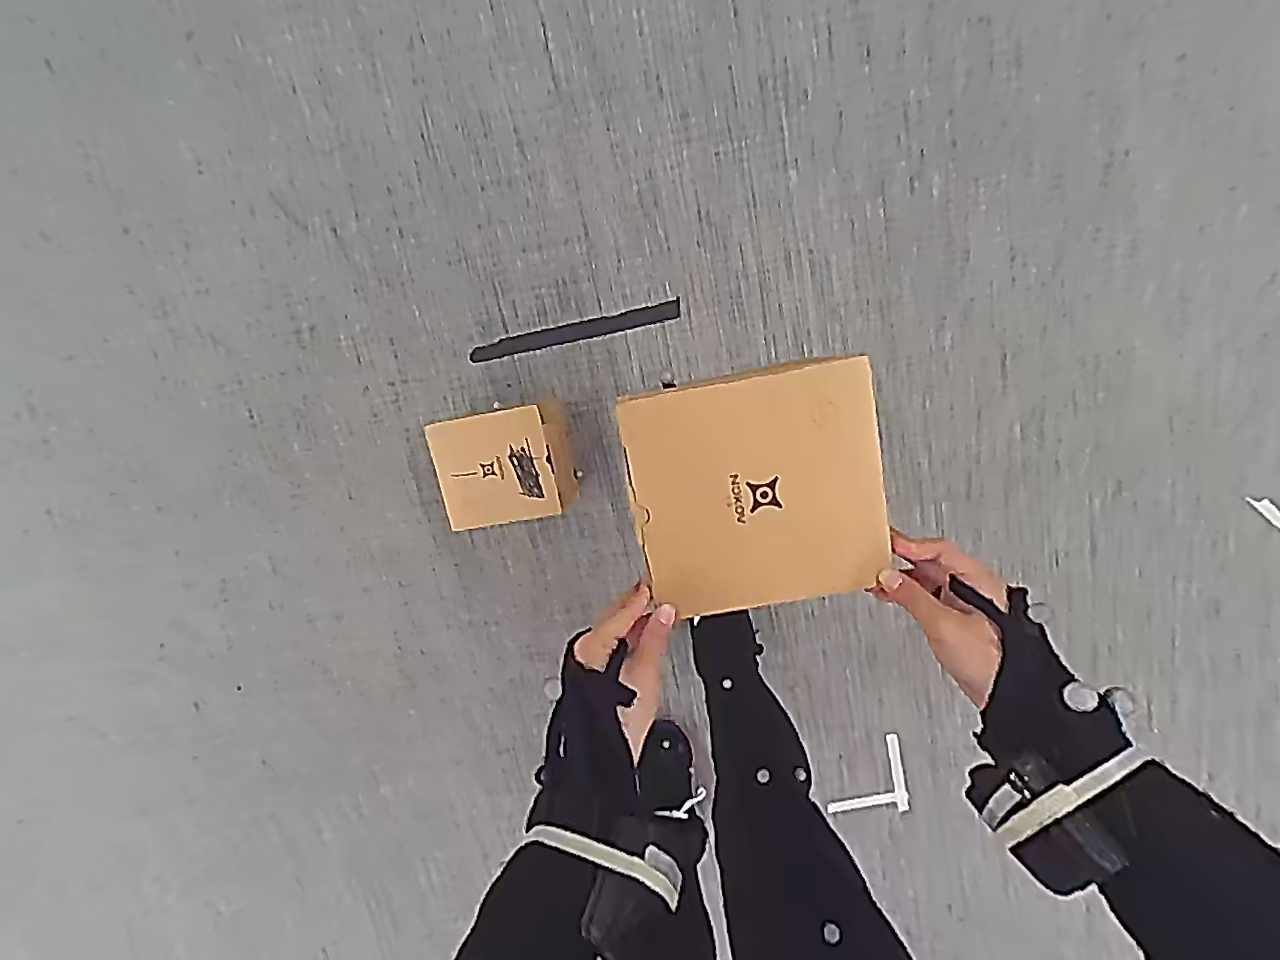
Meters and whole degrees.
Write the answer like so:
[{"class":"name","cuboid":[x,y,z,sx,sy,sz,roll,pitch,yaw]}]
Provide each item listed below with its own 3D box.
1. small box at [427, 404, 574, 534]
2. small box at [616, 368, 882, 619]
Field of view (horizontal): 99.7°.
[{"class":"small box","cuboid":[-0.210,-0.026,0.875,0.179,0.176,0.168,-10,101,5]},{"class":"small box","cuboid":[0.083,-0.002,0.469,0.179,0.176,0.168,-10,100,4]}]
